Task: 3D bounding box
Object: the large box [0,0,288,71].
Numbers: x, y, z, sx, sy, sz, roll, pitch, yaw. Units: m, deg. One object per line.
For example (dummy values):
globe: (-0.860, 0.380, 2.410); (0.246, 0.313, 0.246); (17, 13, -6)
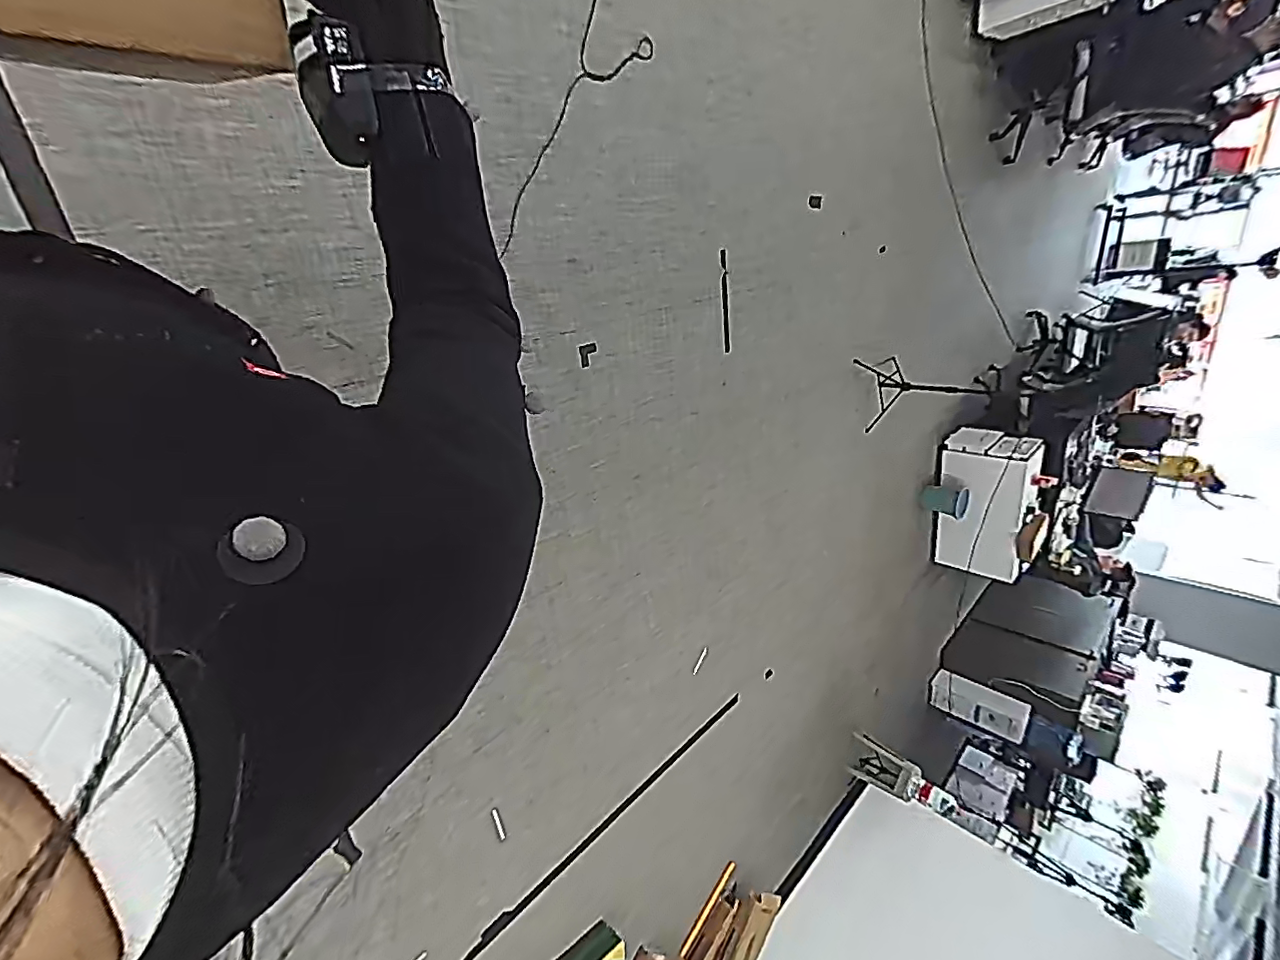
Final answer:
large box: (-0.451, -0.391, 0.228); (0.408, 0.320, 0.320); (-22, 132, -36)
